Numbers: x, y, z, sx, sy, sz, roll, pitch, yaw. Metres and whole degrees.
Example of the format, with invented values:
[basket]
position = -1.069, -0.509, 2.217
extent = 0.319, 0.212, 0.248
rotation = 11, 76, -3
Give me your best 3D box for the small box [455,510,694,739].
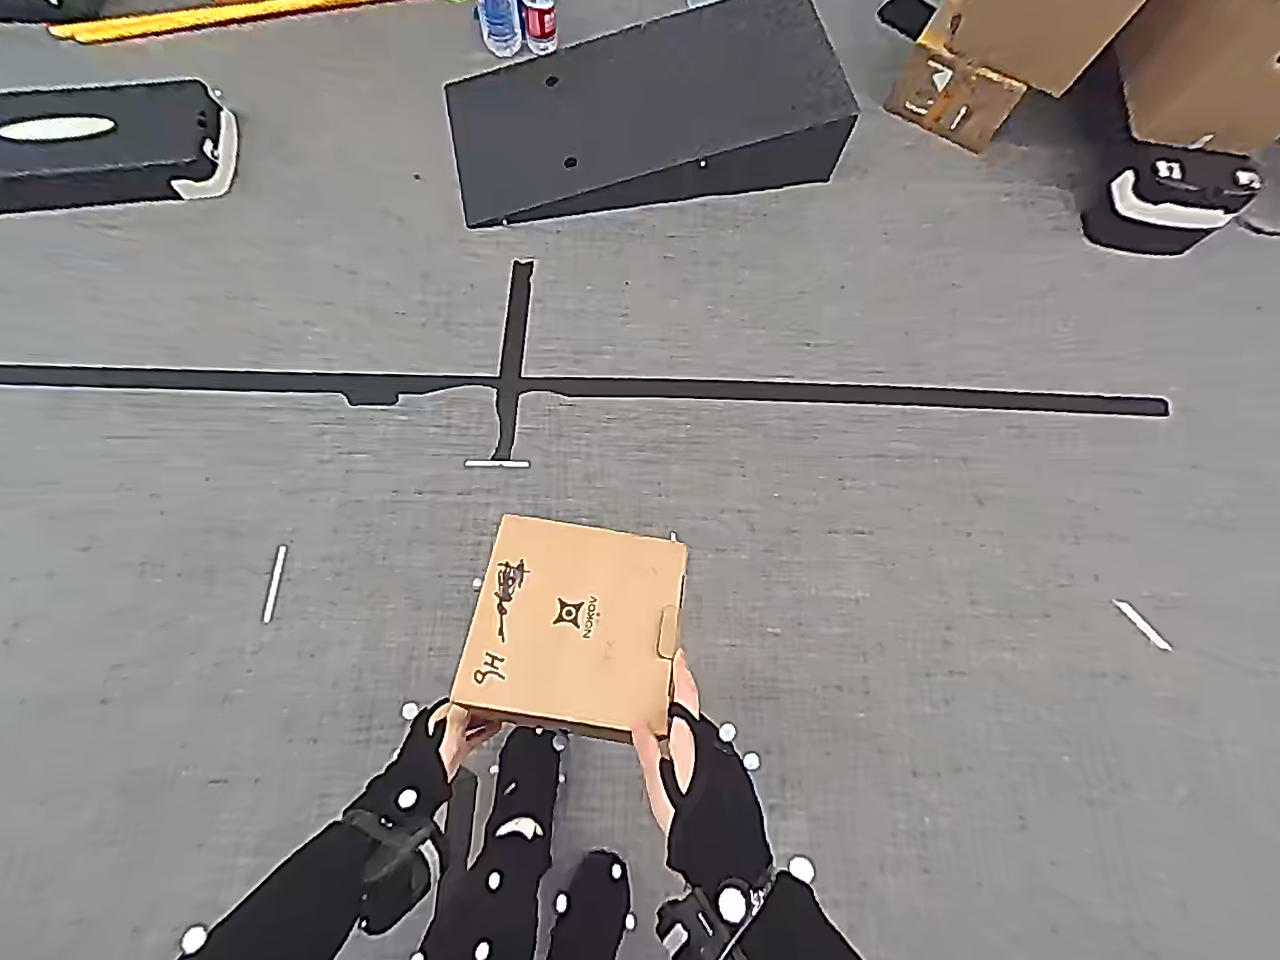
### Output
[small box]
position = -0.056, 0.151, 0.533
extent = 0.179, 0.176, 0.168
rotation = 11, 61, 0
